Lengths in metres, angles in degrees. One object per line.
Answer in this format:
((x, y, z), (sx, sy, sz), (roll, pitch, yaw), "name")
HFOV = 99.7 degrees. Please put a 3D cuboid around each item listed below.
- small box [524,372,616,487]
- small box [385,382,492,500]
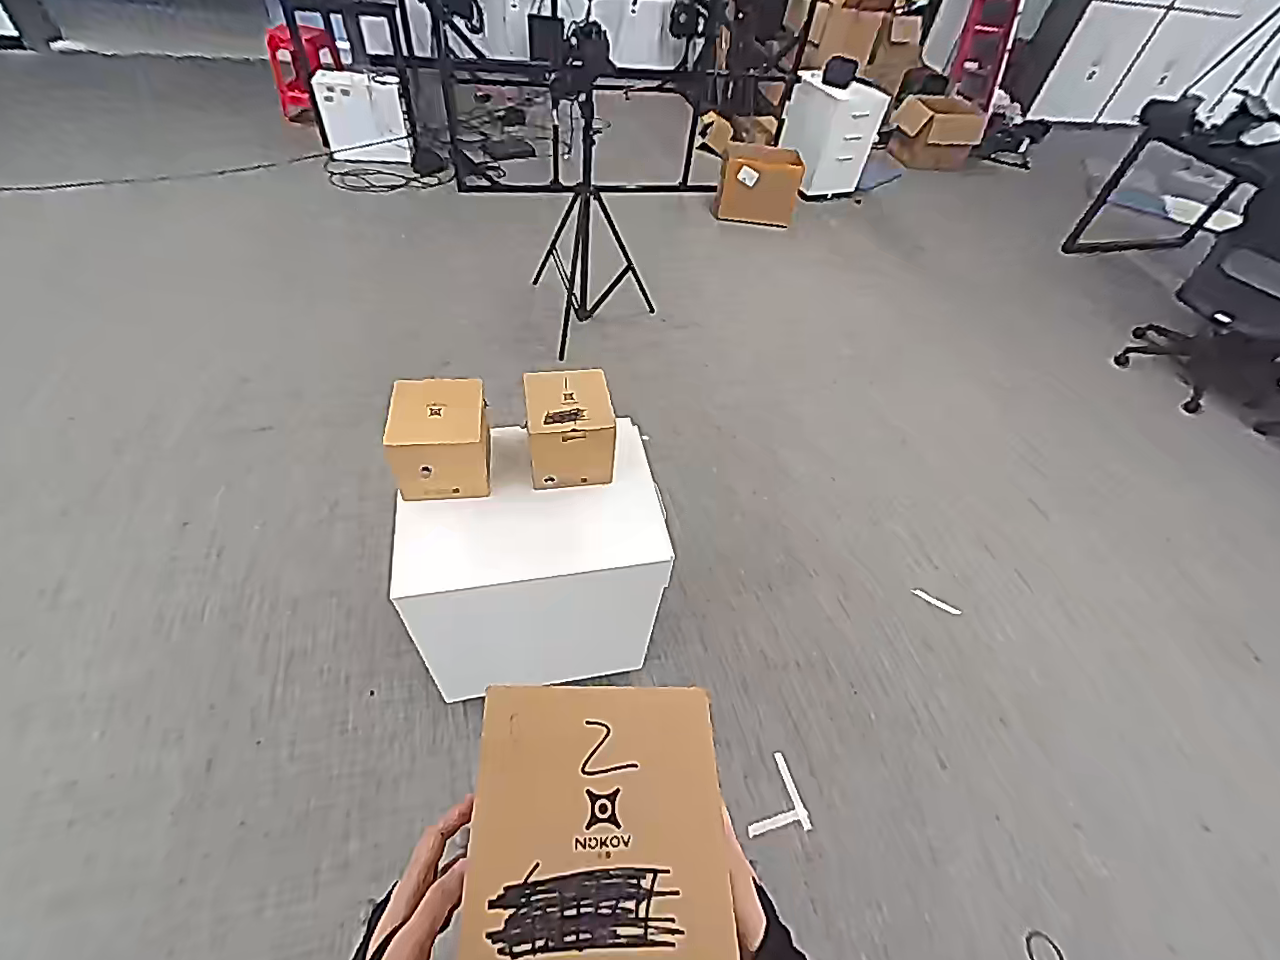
((-0.146, -0.099, 1.115), (0.168, 0.176, 0.179), (-5, 51, -12), "small box")
((-0.384, -0.072, 1.063), (0.168, 0.176, 0.179), (-3, 51, -11), "small box")
